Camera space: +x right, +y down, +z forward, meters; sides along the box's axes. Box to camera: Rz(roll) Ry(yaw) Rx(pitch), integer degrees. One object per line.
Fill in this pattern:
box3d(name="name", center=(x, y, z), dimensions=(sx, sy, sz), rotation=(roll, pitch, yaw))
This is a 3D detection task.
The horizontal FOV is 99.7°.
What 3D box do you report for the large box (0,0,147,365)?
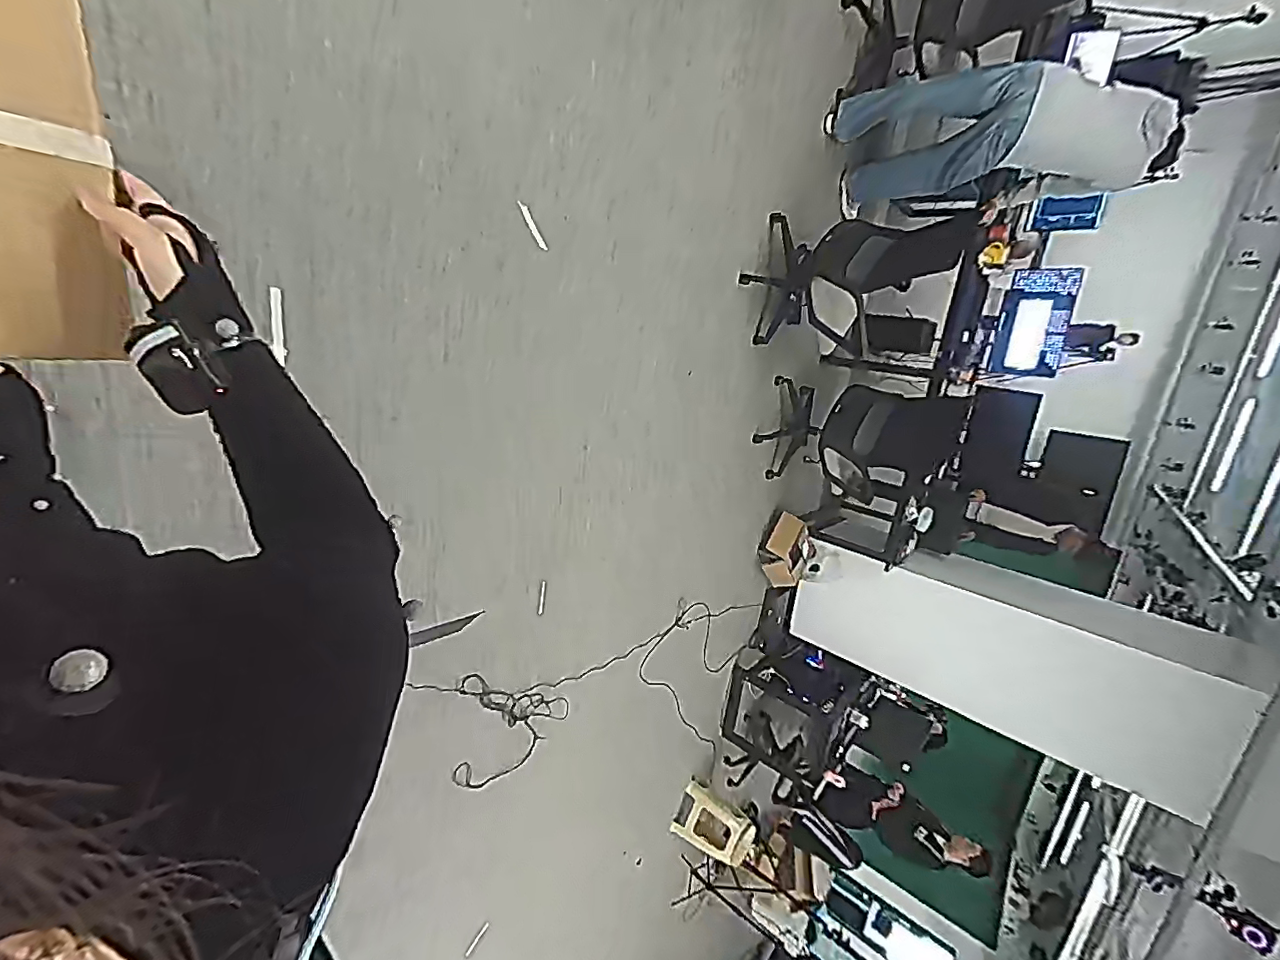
box3d(name="large box", center=(-0.642, -0.248, 0.360), dimensions=(0.408, 0.320, 0.320), rotation=(-13, 111, -48))
